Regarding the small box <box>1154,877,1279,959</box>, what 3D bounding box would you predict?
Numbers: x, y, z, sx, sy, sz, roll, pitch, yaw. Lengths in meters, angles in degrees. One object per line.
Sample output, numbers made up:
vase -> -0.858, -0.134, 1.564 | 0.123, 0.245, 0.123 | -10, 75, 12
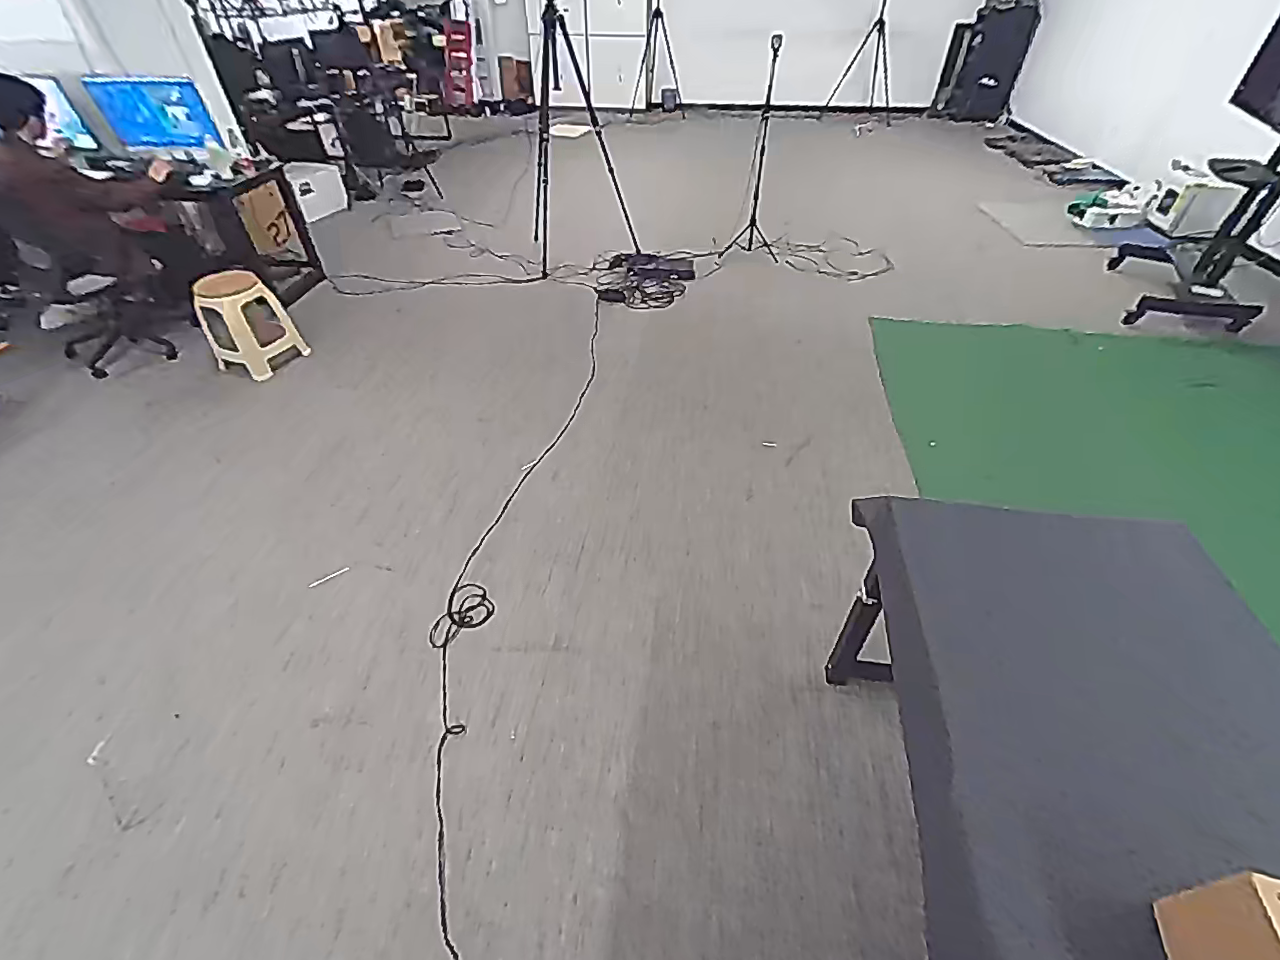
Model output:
small box -> 0.694, 0.552, 0.551 | 0.168, 0.176, 0.179 | 12, 45, 13
